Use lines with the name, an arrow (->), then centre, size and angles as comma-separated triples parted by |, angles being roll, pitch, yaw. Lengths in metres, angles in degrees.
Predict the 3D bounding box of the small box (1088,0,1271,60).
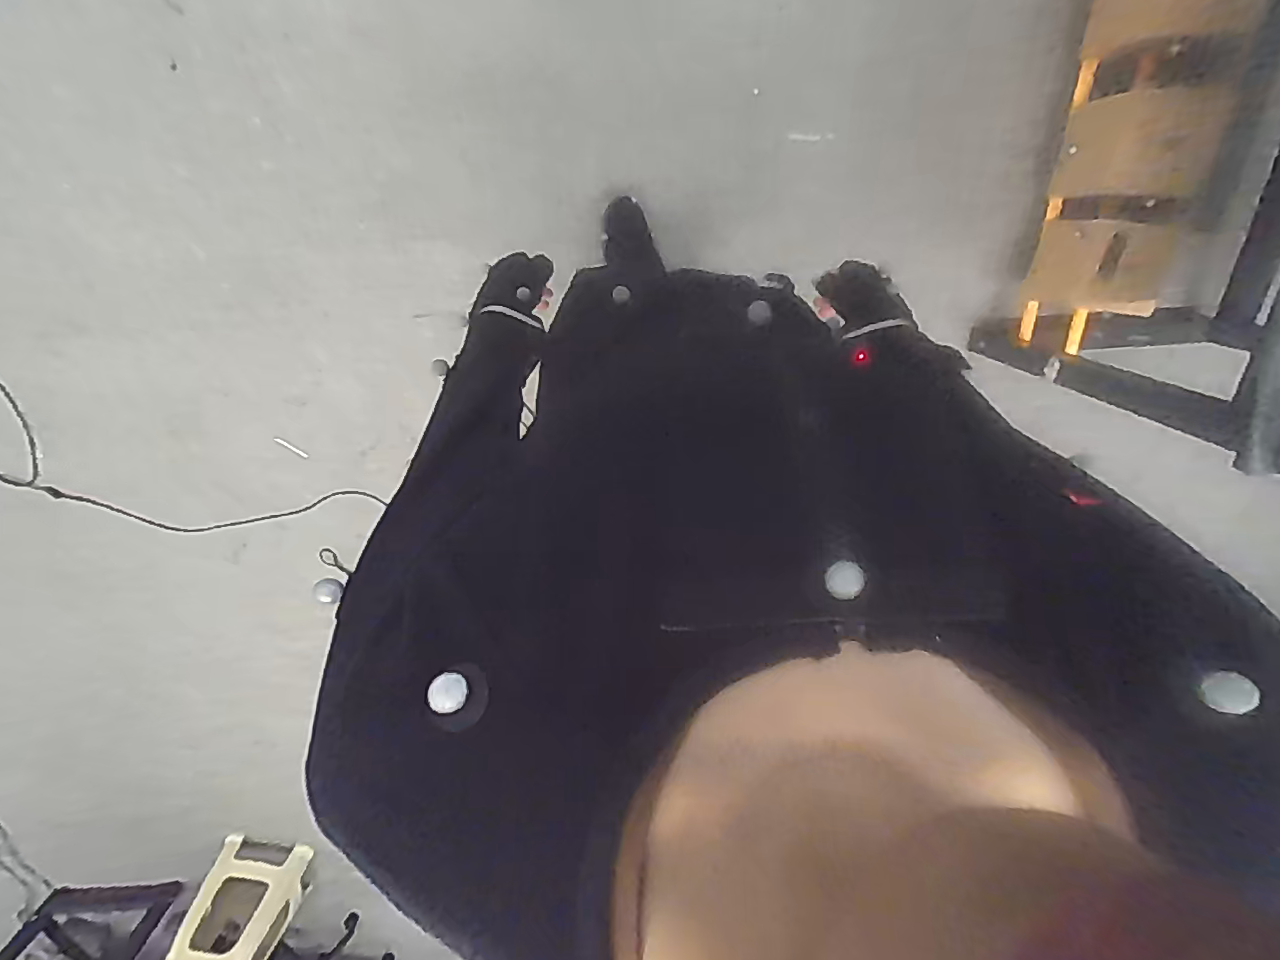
small box -> 0.946, -0.853, 0.939 | 0.179, 0.176, 0.168 | 0, 116, 3
